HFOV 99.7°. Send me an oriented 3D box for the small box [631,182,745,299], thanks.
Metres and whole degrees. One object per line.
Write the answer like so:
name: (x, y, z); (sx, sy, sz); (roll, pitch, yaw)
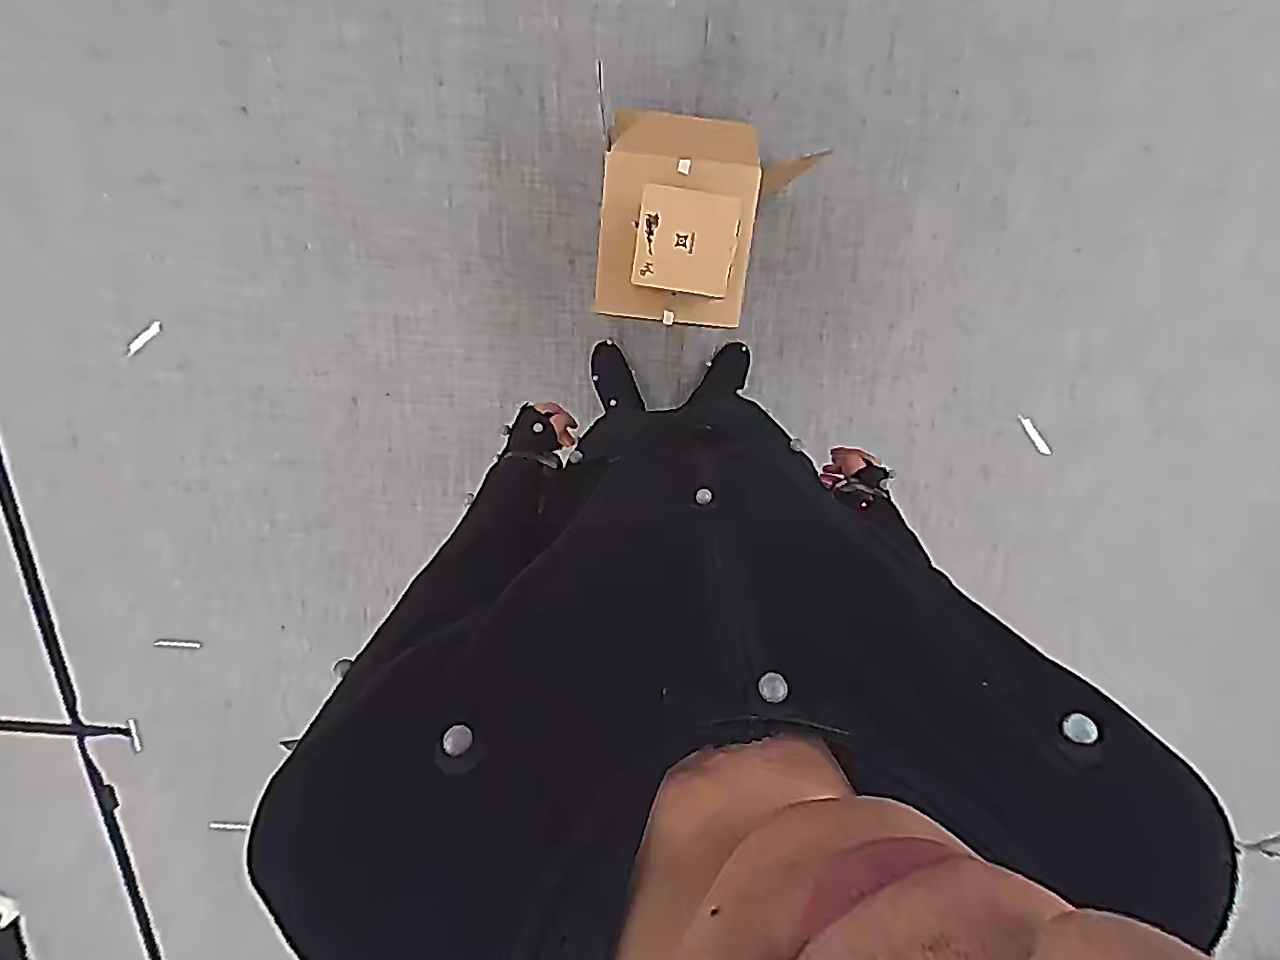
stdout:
small box: (0.081, -0.441, 1.016); (0.179, 0.176, 0.168); (8, 108, -4)
